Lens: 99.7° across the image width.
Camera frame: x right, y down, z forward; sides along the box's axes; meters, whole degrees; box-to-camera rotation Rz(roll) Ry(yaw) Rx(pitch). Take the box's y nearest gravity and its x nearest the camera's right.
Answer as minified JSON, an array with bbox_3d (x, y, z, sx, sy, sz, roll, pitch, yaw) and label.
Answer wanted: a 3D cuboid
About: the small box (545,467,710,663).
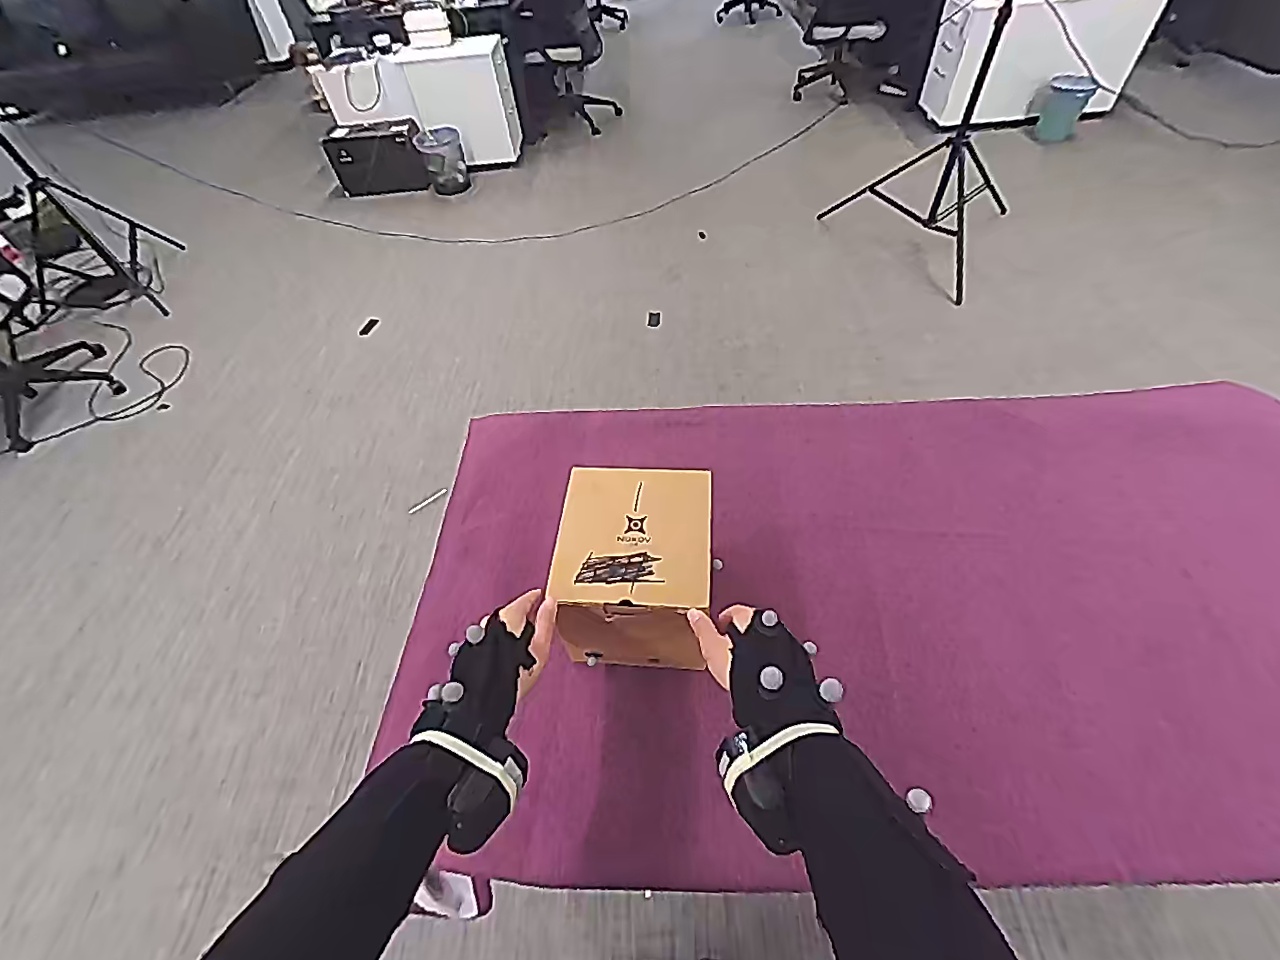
[{"bbox_3d":[-0.002,0.104,0.645,0.168,0.176,0.179,2,51,6],"label":"small box"}]
